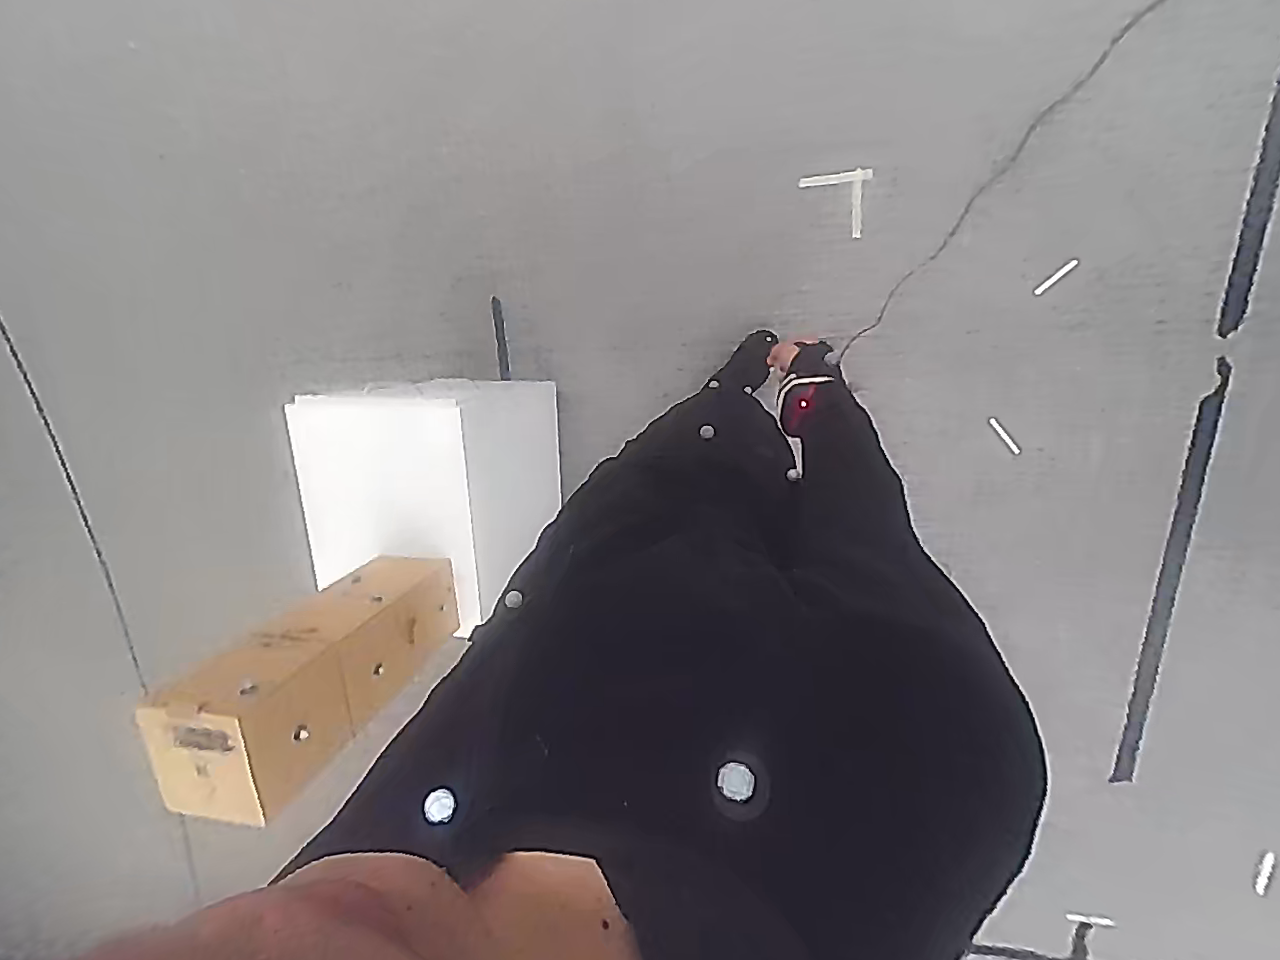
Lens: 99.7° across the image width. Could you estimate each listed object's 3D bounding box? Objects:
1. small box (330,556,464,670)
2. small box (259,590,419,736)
[{"bbox_3d":[-0.486,0.264,1.104,0.179,0.176,0.168,1,106,12],"label":"small box"},{"bbox_3d":[-0.514,0.309,0.949,0.168,0.176,0.179,2,106,12],"label":"small box"}]
